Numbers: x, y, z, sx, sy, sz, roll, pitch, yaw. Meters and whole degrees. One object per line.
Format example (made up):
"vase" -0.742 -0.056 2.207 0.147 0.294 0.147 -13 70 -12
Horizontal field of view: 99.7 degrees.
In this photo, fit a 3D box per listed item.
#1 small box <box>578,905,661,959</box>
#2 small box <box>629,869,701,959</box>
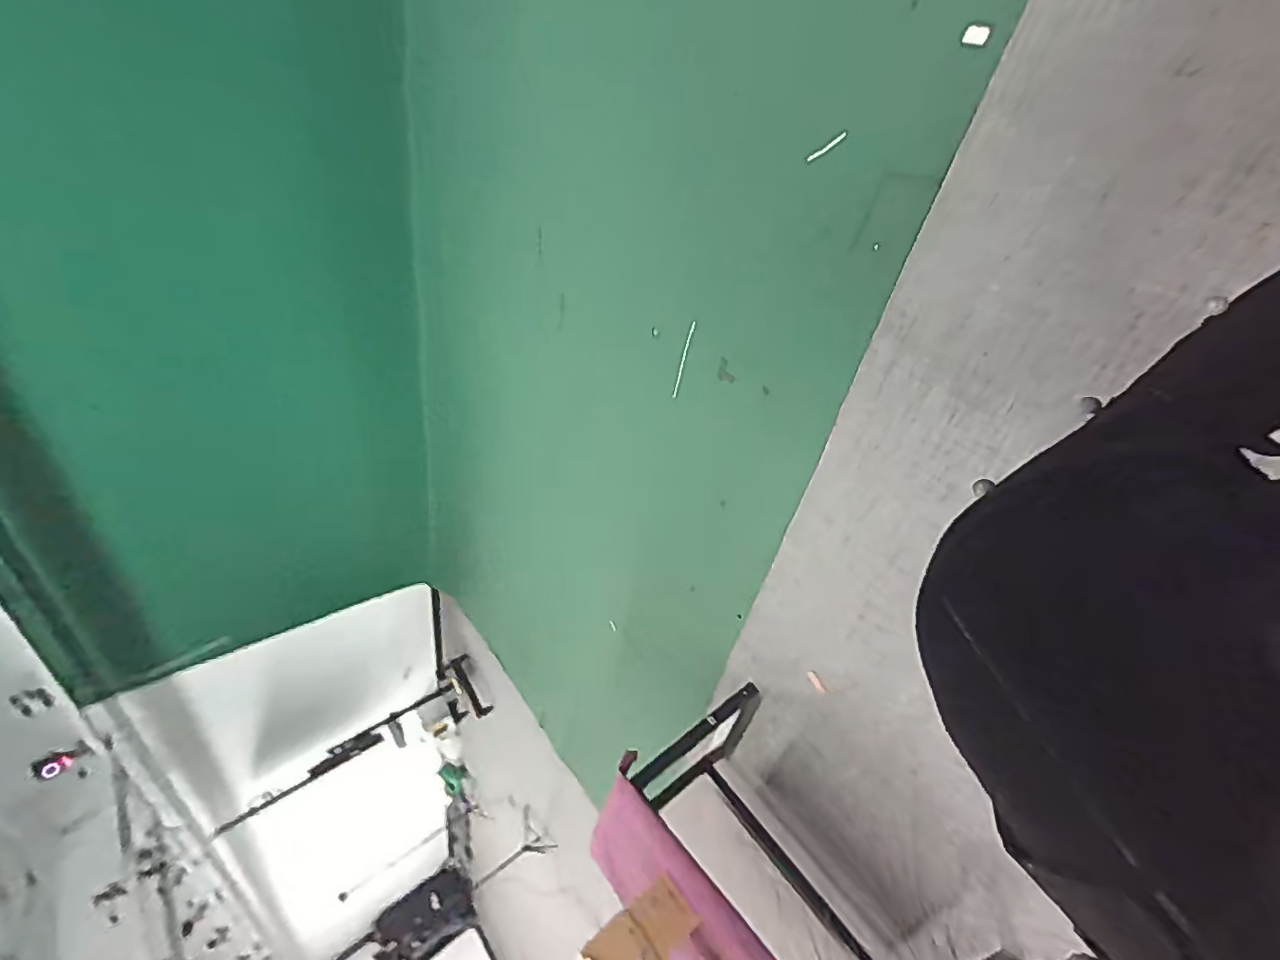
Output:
"small box" -0.060 1.399 1.580 0.168 0.176 0.179 41 136 33
"small box" 0.065 1.359 1.678 0.168 0.176 0.179 42 136 32
